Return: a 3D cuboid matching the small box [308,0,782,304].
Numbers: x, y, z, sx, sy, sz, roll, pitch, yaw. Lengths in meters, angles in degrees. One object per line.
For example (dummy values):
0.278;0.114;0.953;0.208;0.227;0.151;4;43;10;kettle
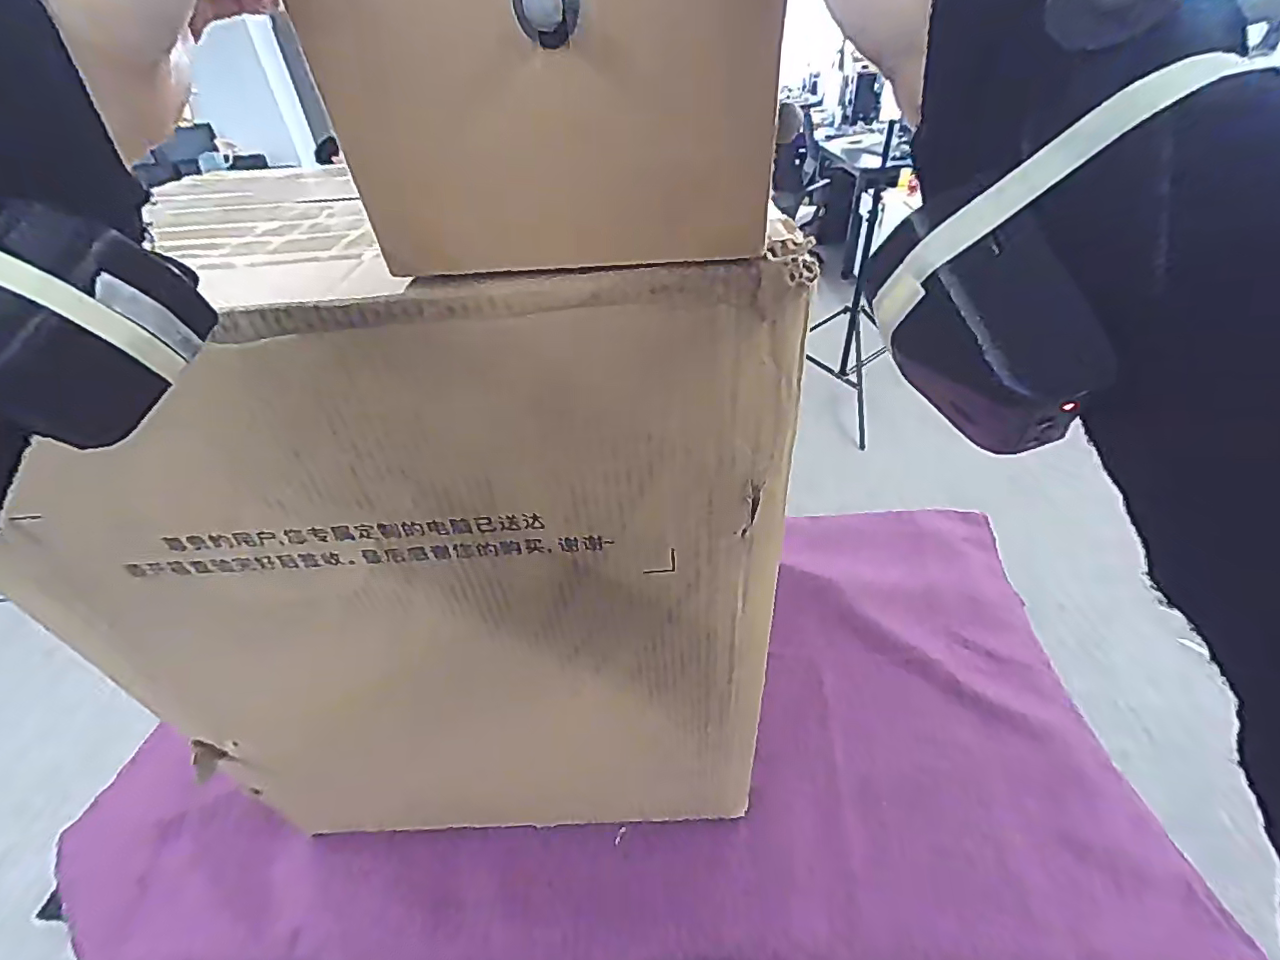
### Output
-0.031;-0.201;0.248;0.168;0.176;0.179;-1;43;4;small box
